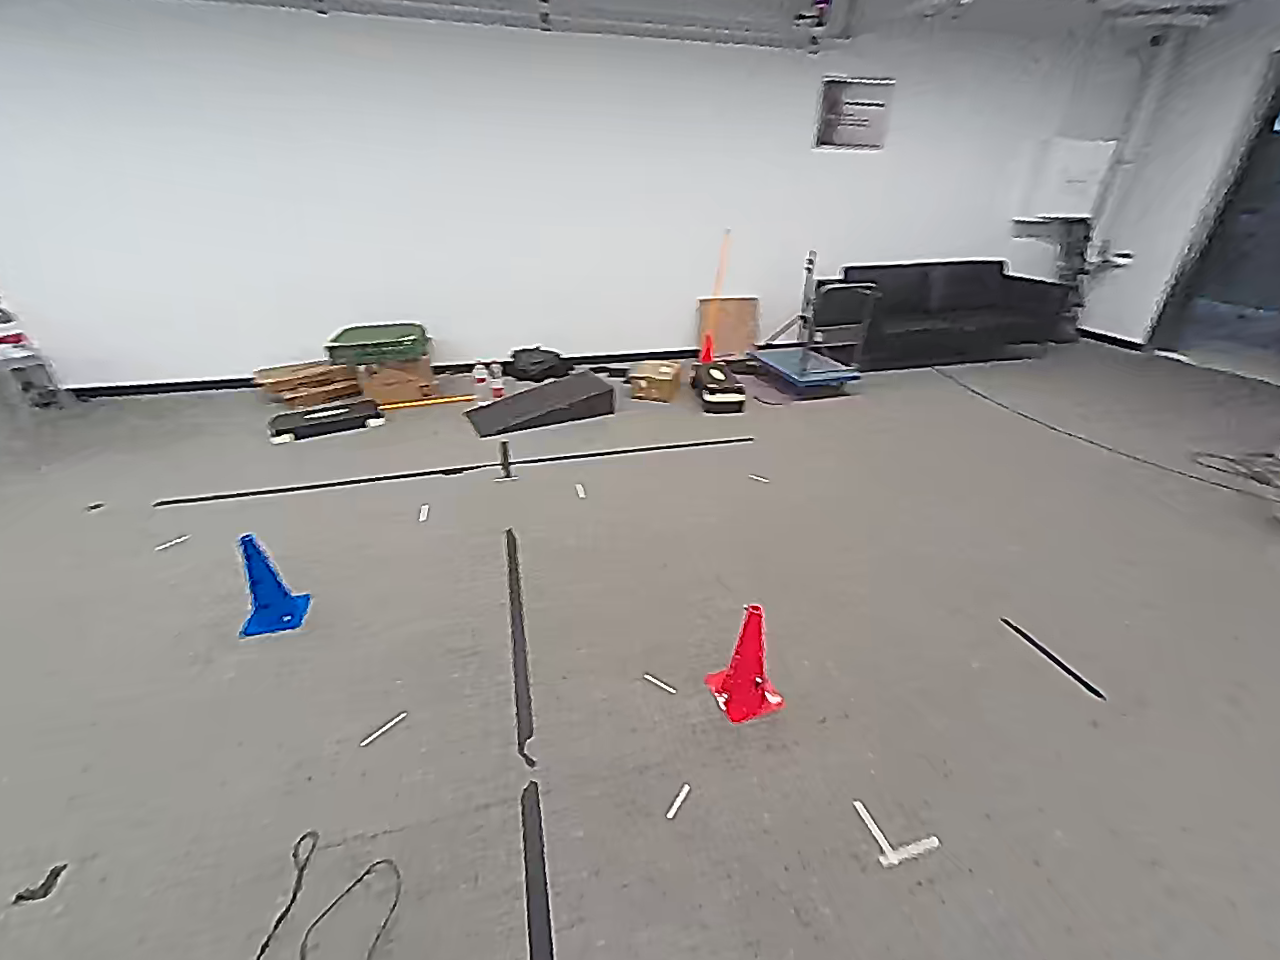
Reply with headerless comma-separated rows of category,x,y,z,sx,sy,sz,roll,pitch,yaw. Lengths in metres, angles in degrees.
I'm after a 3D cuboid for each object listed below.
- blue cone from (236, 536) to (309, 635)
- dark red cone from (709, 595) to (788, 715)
blue cone,-1.381,0.368,1.980,0.192,0.380,0.193,-7,29,-12
dark red cone,0.346,0.515,1.668,0.201,0.394,0.202,-11,30,-19
